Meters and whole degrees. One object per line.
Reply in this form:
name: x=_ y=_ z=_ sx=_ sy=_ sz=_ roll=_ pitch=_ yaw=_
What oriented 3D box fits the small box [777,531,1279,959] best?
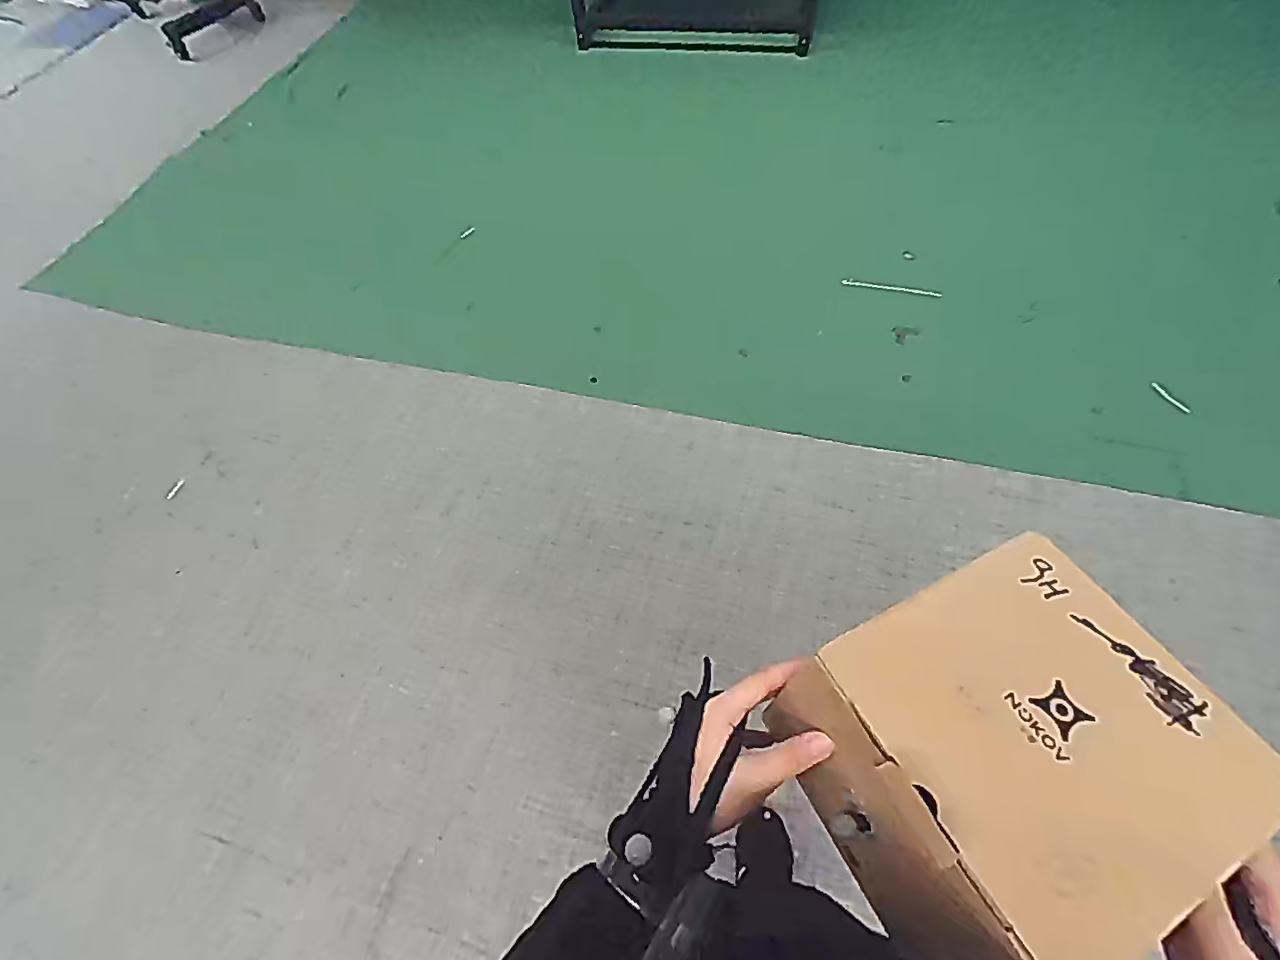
small box: x=0.207 y=0.169 z=0.350 sx=0.179 sy=0.176 sz=0.168 roll=-24 pitch=58 yaw=-14
